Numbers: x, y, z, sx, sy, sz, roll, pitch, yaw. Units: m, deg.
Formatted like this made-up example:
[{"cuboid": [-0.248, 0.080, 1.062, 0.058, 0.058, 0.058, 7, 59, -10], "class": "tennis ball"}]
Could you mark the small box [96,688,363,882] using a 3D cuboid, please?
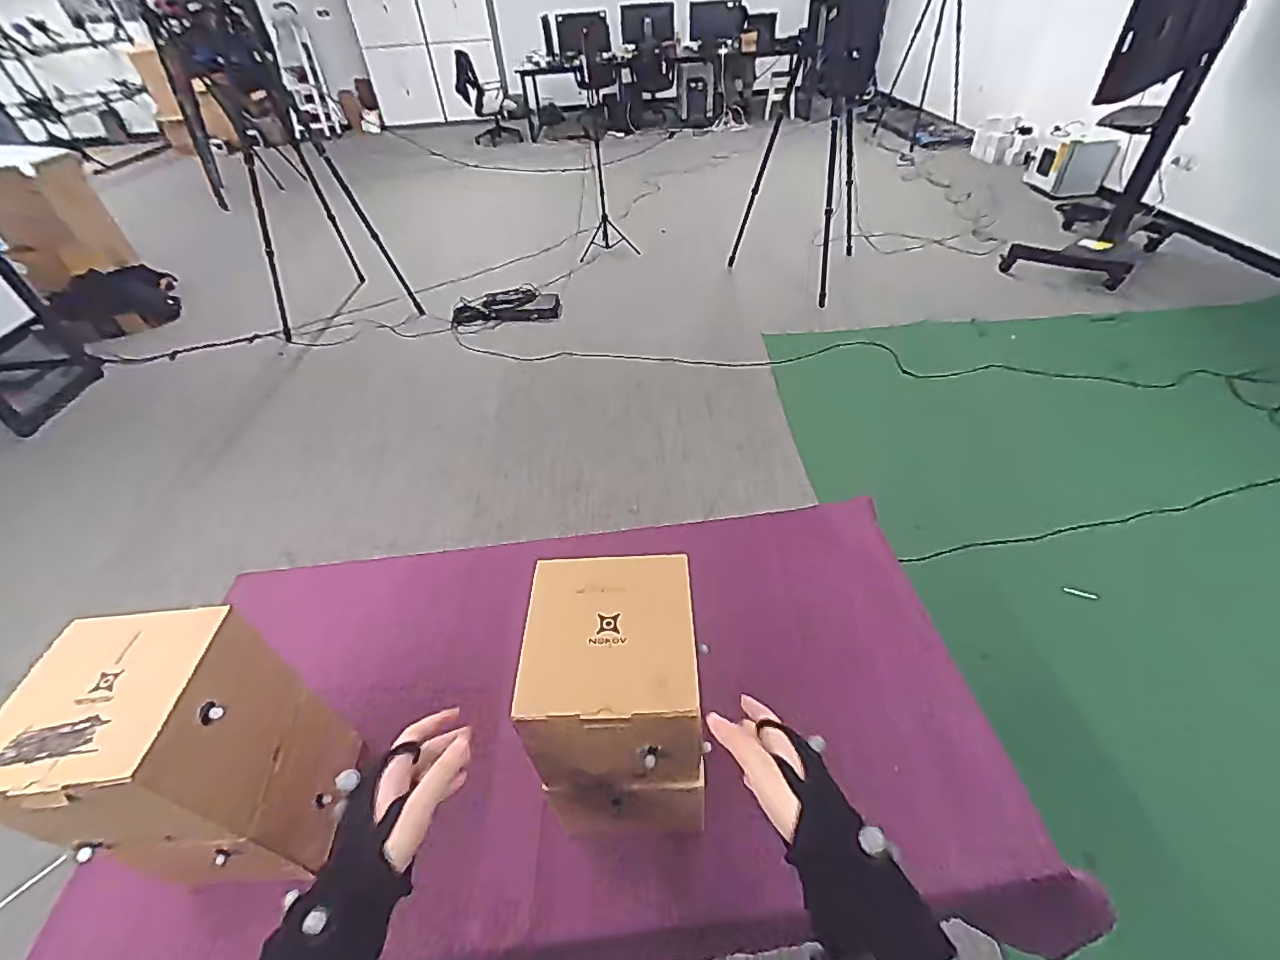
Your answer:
[{"cuboid": [-0.489, 0.385, 0.680, 0.179, 0.176, 0.168, -5, 43, 0], "class": "small box"}]

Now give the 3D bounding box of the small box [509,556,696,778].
[{"cuboid": [-0.027, 0.203, 0.580, 0.168, 0.176, 0.179, -3, 42, 3], "class": "small box"}]

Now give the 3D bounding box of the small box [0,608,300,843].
[{"cuboid": [-0.502, 0.262, 0.572, 0.168, 0.176, 0.179, -5, 42, -1], "class": "small box"}]

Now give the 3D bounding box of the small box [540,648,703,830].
[{"cuboid": [-0.014, 0.329, 0.685, 0.179, 0.176, 0.168, -3, 44, 4], "class": "small box"}]
